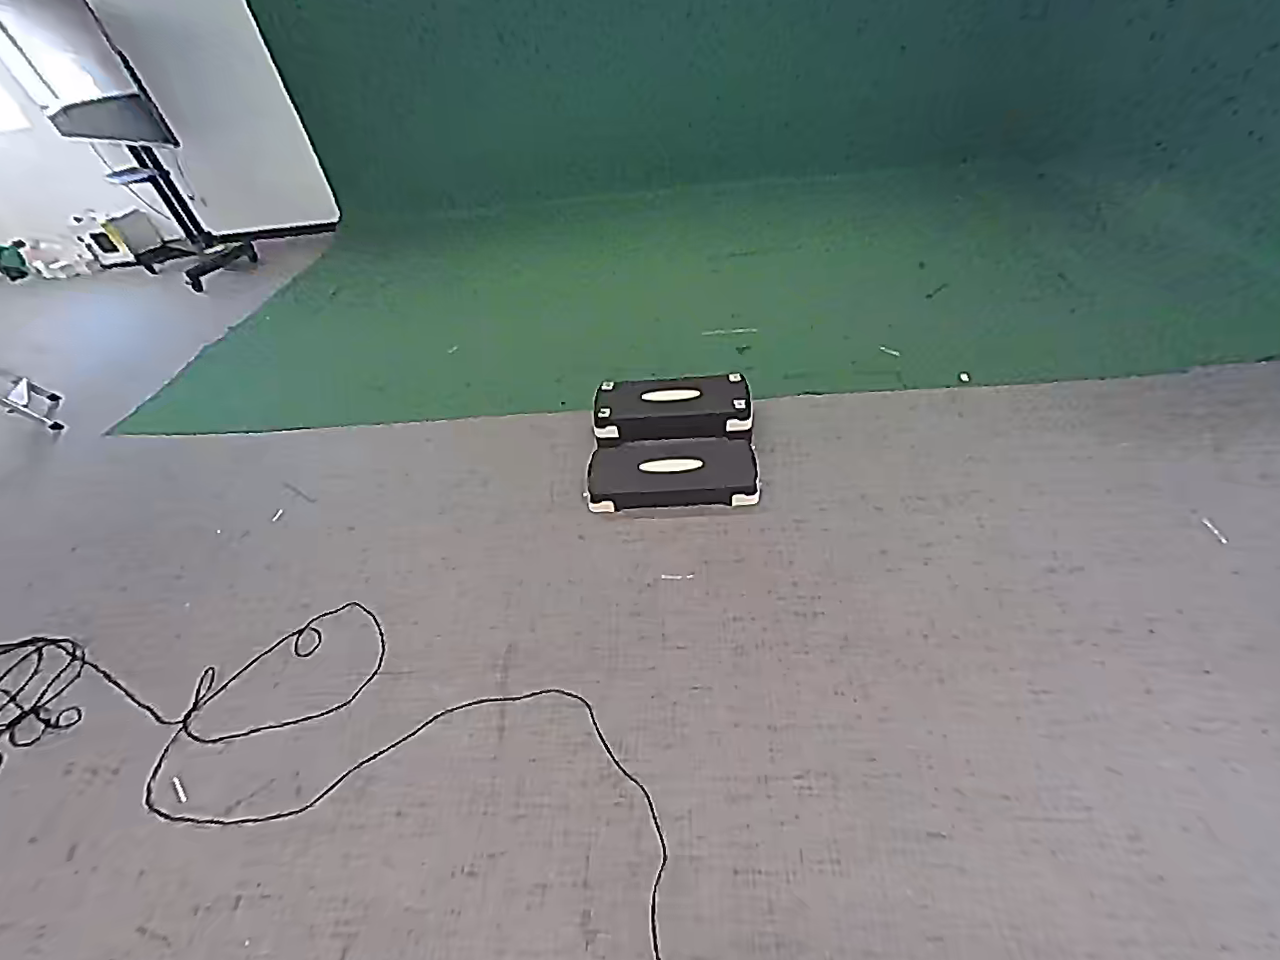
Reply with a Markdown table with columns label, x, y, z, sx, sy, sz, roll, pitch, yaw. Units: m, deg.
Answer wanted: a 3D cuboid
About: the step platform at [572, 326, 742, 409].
| label | x | y | z | sx | sy | sz | roll | pitch | yaw |
| --- | --- | --- | --- | --- | --- | --- | --- | --- | --- |
| step platform | 0.074 | -0.466 | 2.242 | 0.684 | 0.204 | 0.286 | -3 | 44 | 6 |
